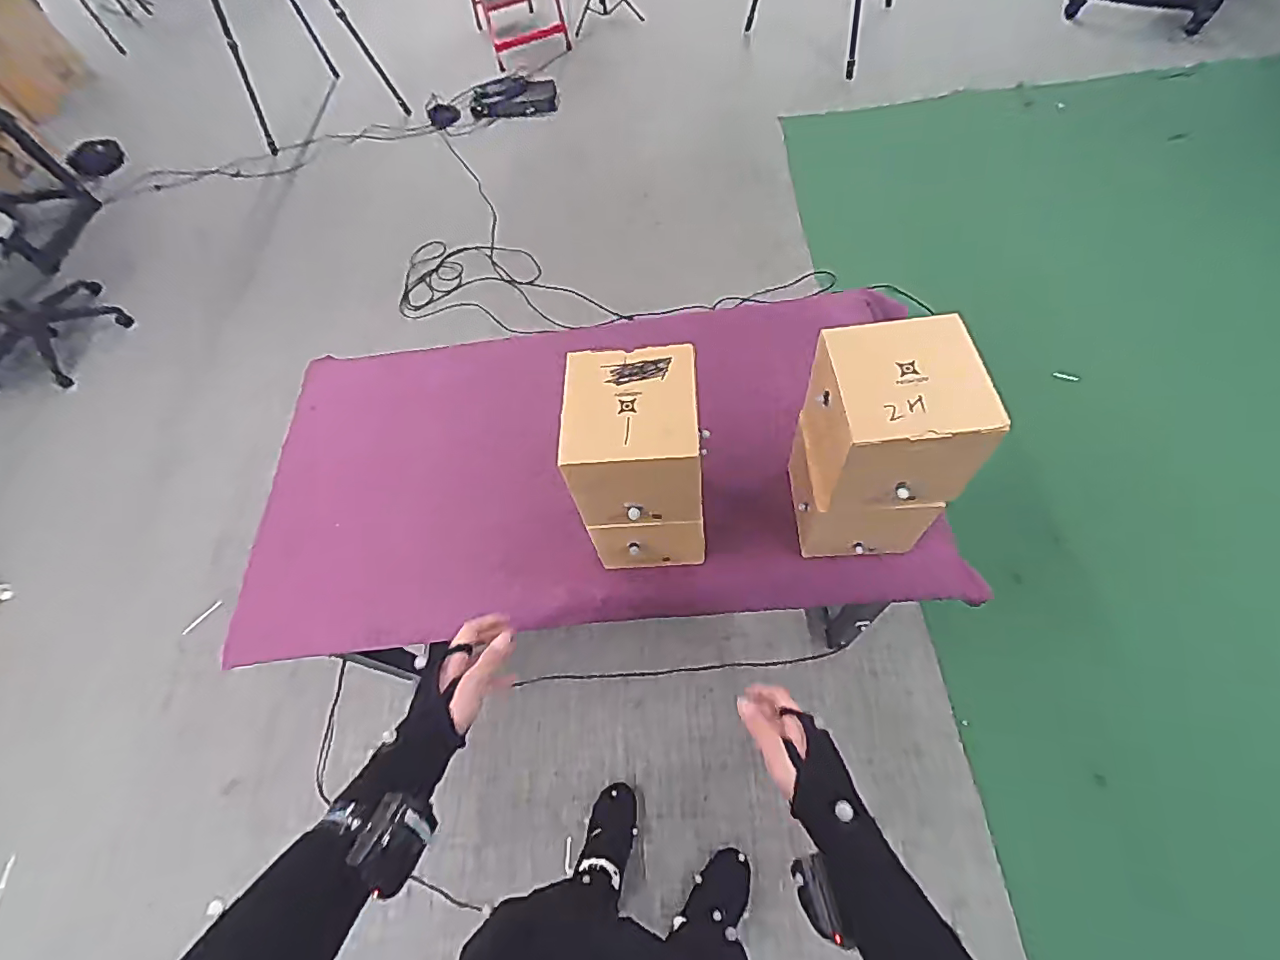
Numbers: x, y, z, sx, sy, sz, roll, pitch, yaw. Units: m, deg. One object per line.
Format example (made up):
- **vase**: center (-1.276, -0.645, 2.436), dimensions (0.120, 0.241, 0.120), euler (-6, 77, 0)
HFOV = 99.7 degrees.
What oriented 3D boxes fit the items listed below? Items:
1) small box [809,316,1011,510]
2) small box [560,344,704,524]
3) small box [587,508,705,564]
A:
- **small box**: center (0.321, -0.080, 0.690), dimensions (0.168, 0.176, 0.179), euler (-5, 60, 6)
- **small box**: center (0.000, -0.055, 0.723), dimensions (0.168, 0.176, 0.179), euler (-3, 60, 7)
- **small box**: center (0.016, 0.029, 0.863), dimensions (0.168, 0.176, 0.179), euler (-3, 59, 6)
